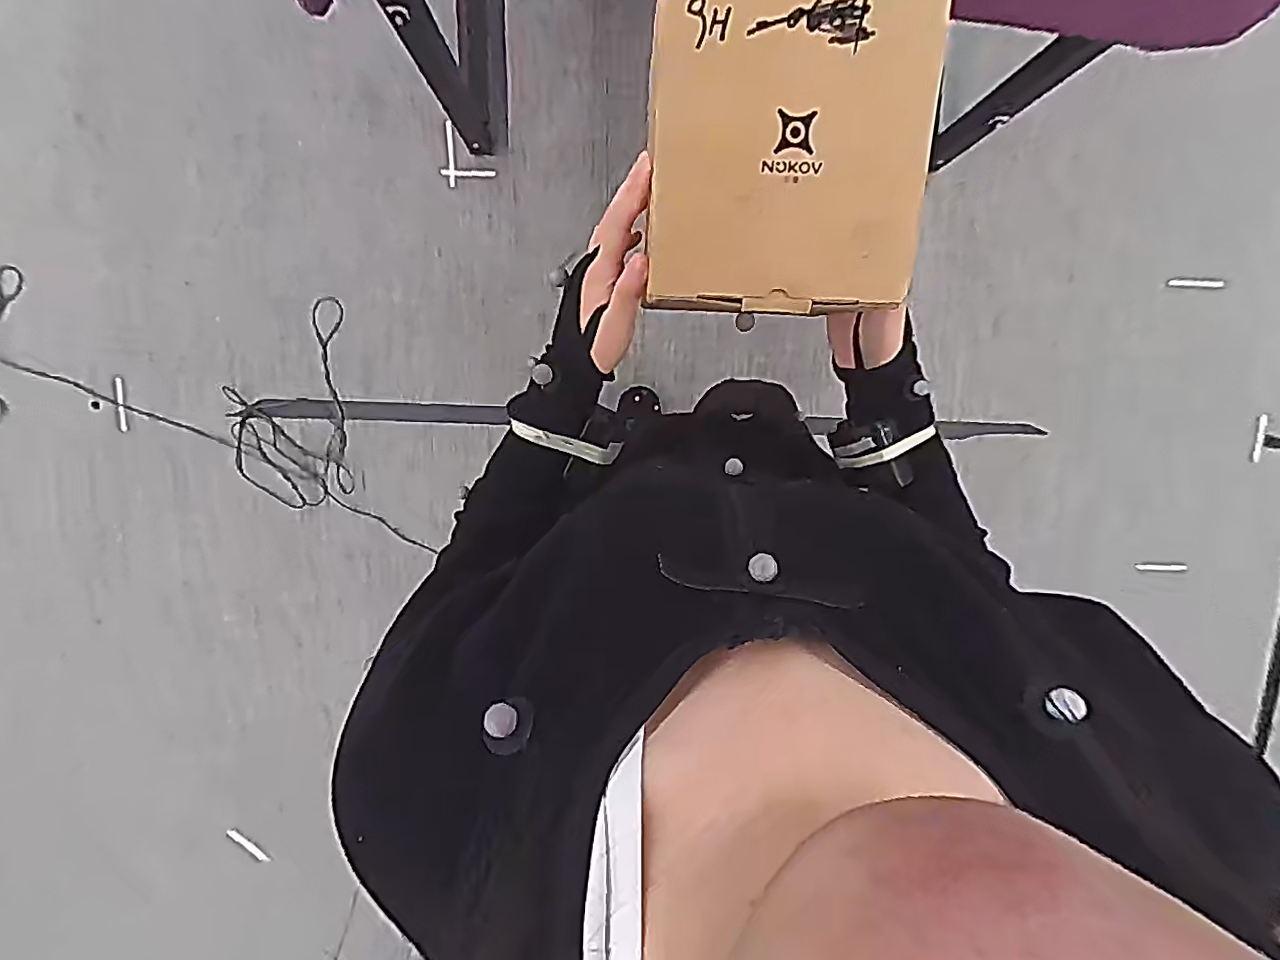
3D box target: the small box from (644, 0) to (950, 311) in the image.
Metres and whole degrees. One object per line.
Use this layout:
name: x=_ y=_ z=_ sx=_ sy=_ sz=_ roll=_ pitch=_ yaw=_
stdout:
small box: x=0.089 y=-0.221 z=0.404 sx=0.168 sy=0.176 sz=0.179 roll=2 pitch=106 yaw=-2

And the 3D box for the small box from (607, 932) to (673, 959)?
small box: x=0.002 y=1.256 z=1.317 sx=0.168 sy=0.176 sz=0.179 roll=-2 pitch=98 yaw=-2
